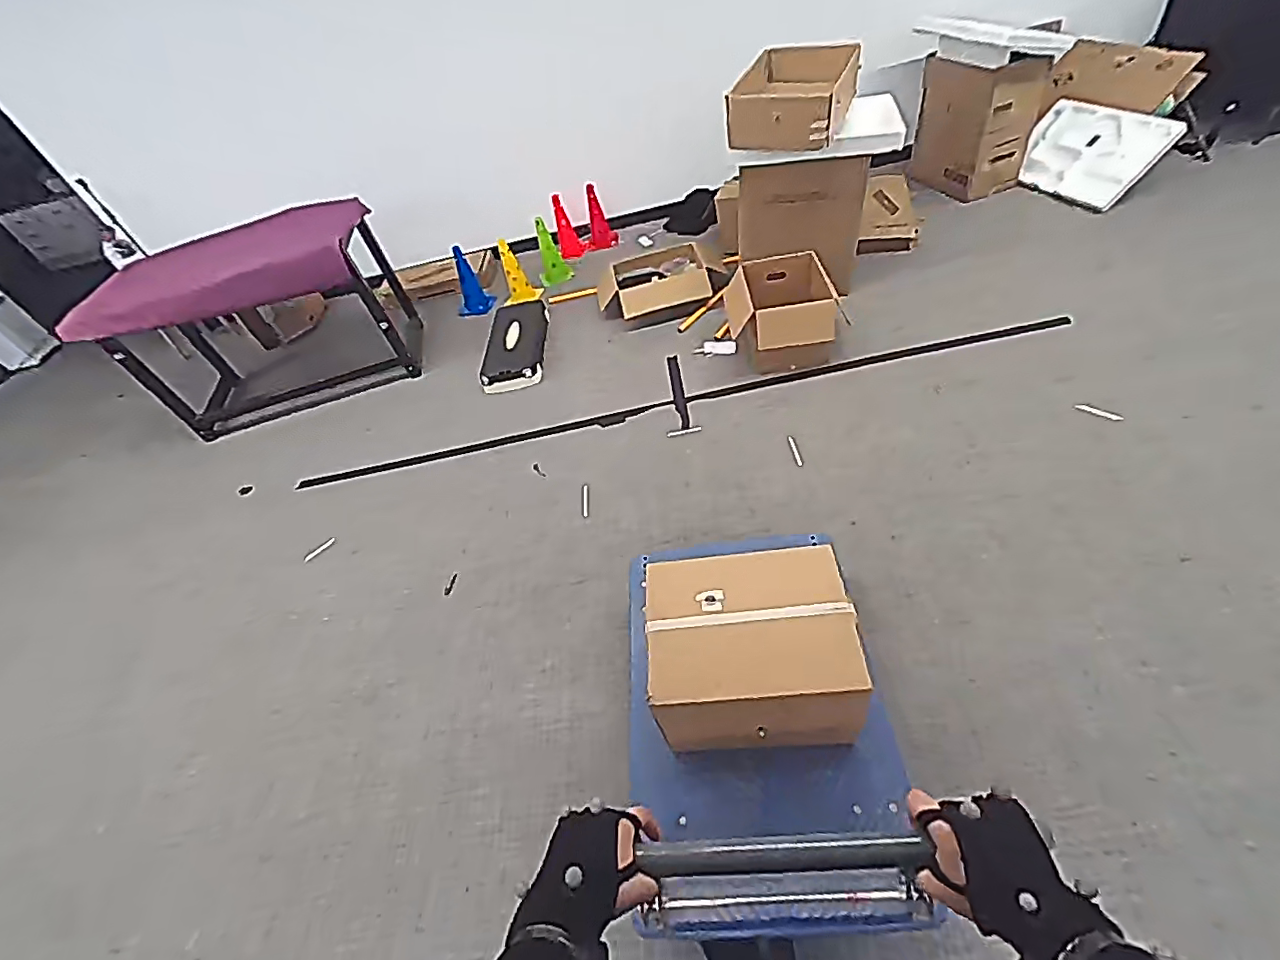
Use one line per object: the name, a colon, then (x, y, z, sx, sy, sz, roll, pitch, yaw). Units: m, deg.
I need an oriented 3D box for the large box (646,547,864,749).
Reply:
large box: (0.242, 0.386, 1.211, 0.408, 0.320, 0.320, -9, 46, 8)
